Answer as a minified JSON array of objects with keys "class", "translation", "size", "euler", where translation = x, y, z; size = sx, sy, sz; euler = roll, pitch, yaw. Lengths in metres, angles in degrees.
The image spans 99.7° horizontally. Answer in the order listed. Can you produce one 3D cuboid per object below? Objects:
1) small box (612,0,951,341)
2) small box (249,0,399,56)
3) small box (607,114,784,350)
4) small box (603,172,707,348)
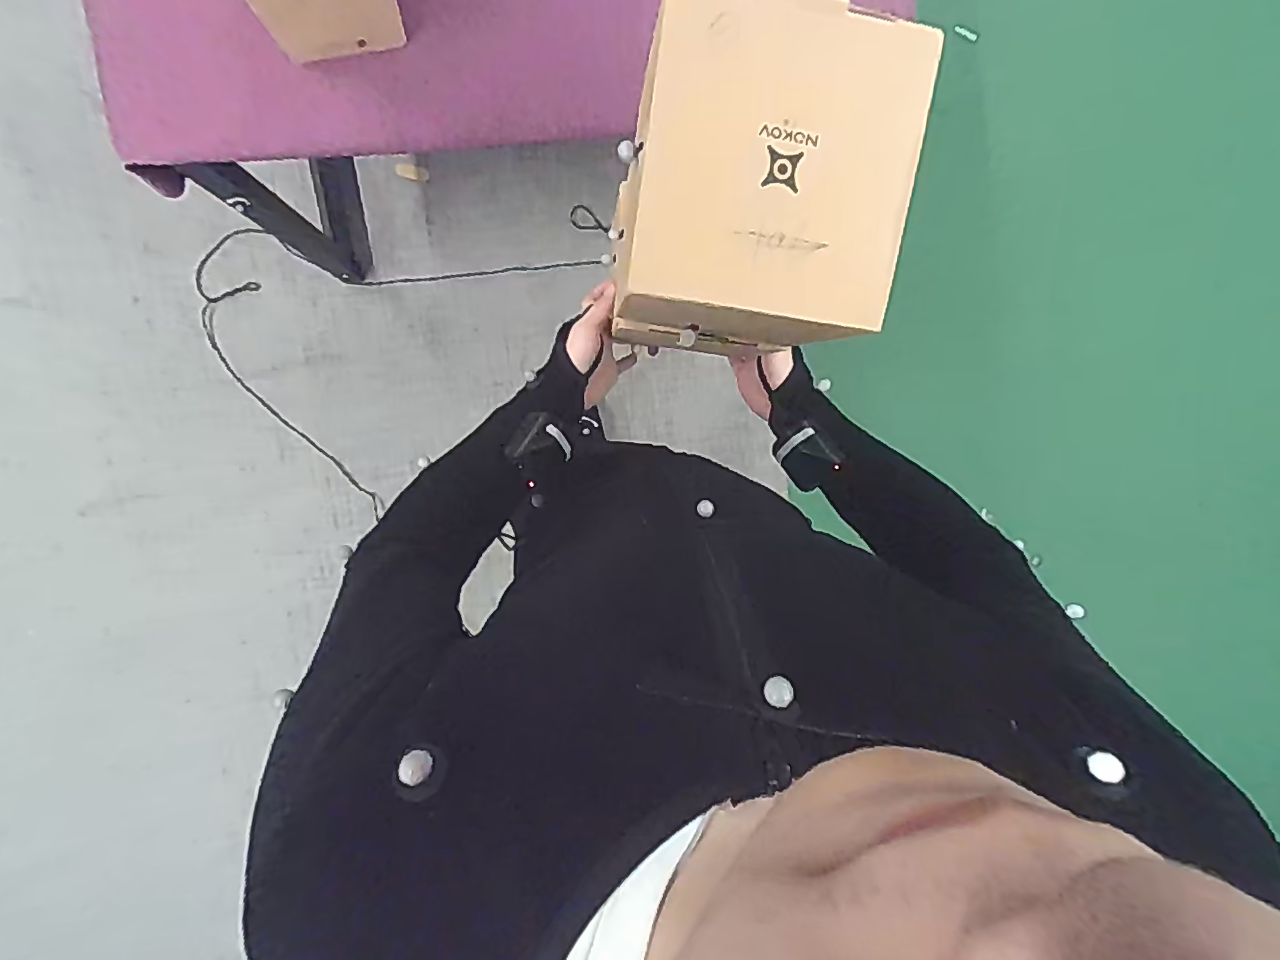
[{"class":"small box","translation":[0.074,-0.205,0.386],"size":[0.168,0.176,0.179],"euler":[8,100,-7]},{"class":"small box","translation":[-0.425,-0.684,0.672],"size":[0.168,0.176,0.179],"euler":[-14,96,-6]},{"class":"small box","translation":[0.058,-0.232,0.546],"size":[0.168,0.176,0.179],"euler":[6,100,-8]},{"class":"small box","translation":[0.039,-0.270,0.705],"size":[0.168,0.176,0.179],"euler":[4,100,-6]}]
